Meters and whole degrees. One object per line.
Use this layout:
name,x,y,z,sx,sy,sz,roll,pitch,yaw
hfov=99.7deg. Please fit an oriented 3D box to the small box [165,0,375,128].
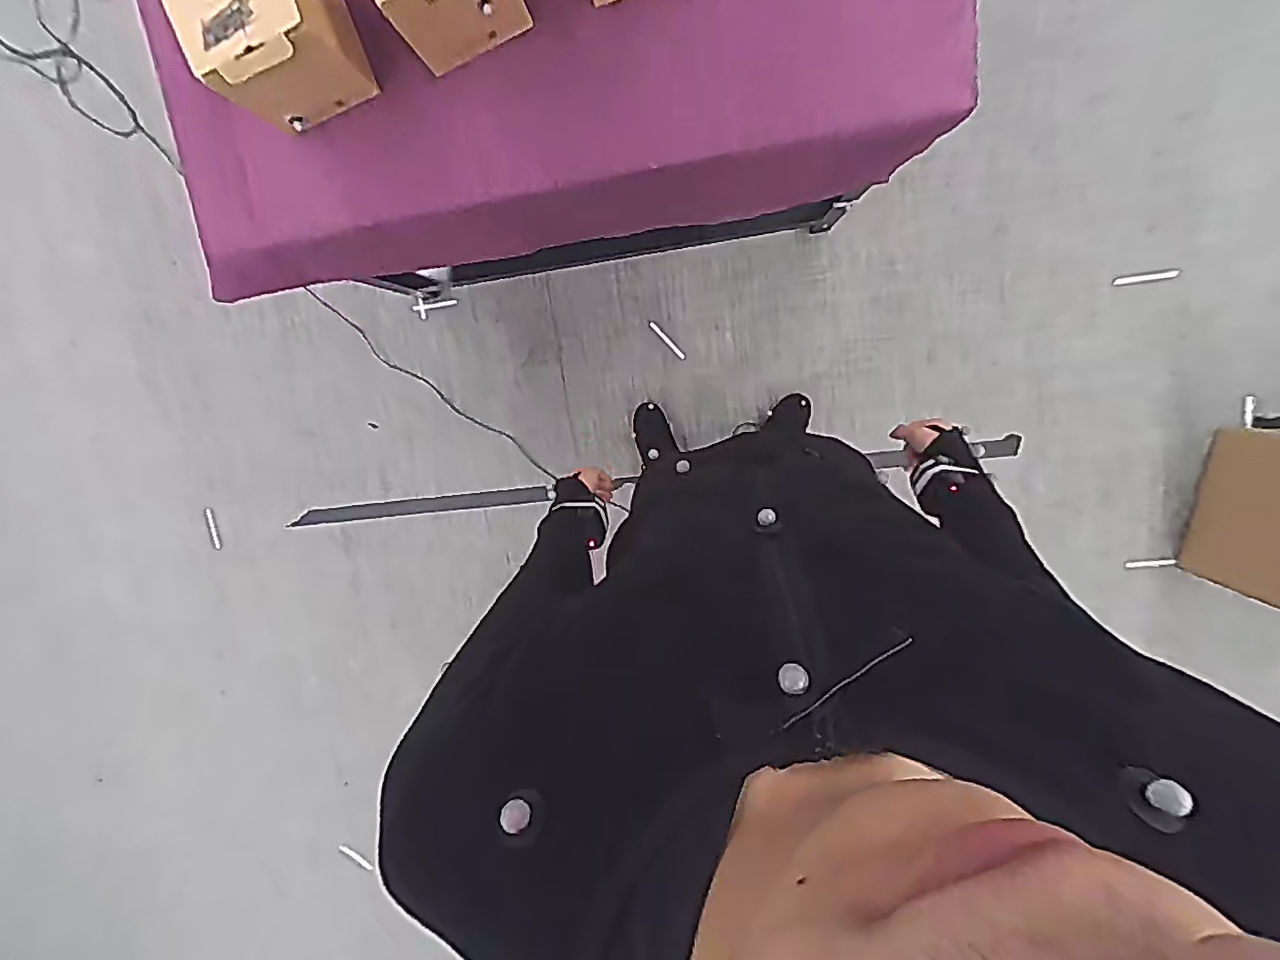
small box,-0.509,-0.628,0.751,0.168,0.176,0.179,-19,98,8

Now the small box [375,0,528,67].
small box,-0.270,-0.698,0.718,0.168,0.176,0.179,-20,98,8
